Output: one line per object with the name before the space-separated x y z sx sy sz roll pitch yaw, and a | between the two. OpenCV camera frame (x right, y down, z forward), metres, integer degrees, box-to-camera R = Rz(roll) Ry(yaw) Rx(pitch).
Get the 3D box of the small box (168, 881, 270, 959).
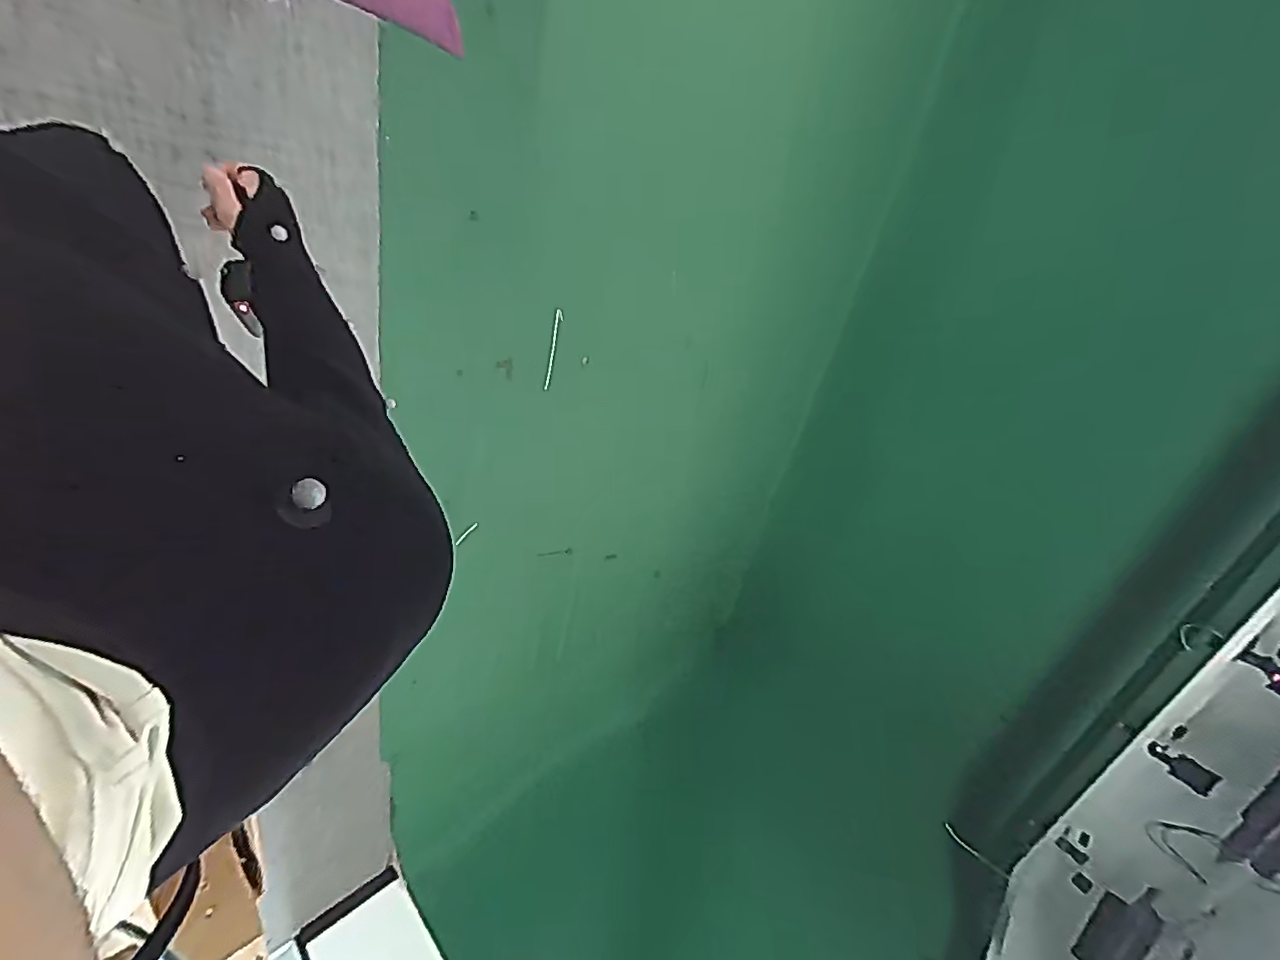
small box | -1.053 1.173 1.353 0.179 0.176 0.168 -14 127 -44
